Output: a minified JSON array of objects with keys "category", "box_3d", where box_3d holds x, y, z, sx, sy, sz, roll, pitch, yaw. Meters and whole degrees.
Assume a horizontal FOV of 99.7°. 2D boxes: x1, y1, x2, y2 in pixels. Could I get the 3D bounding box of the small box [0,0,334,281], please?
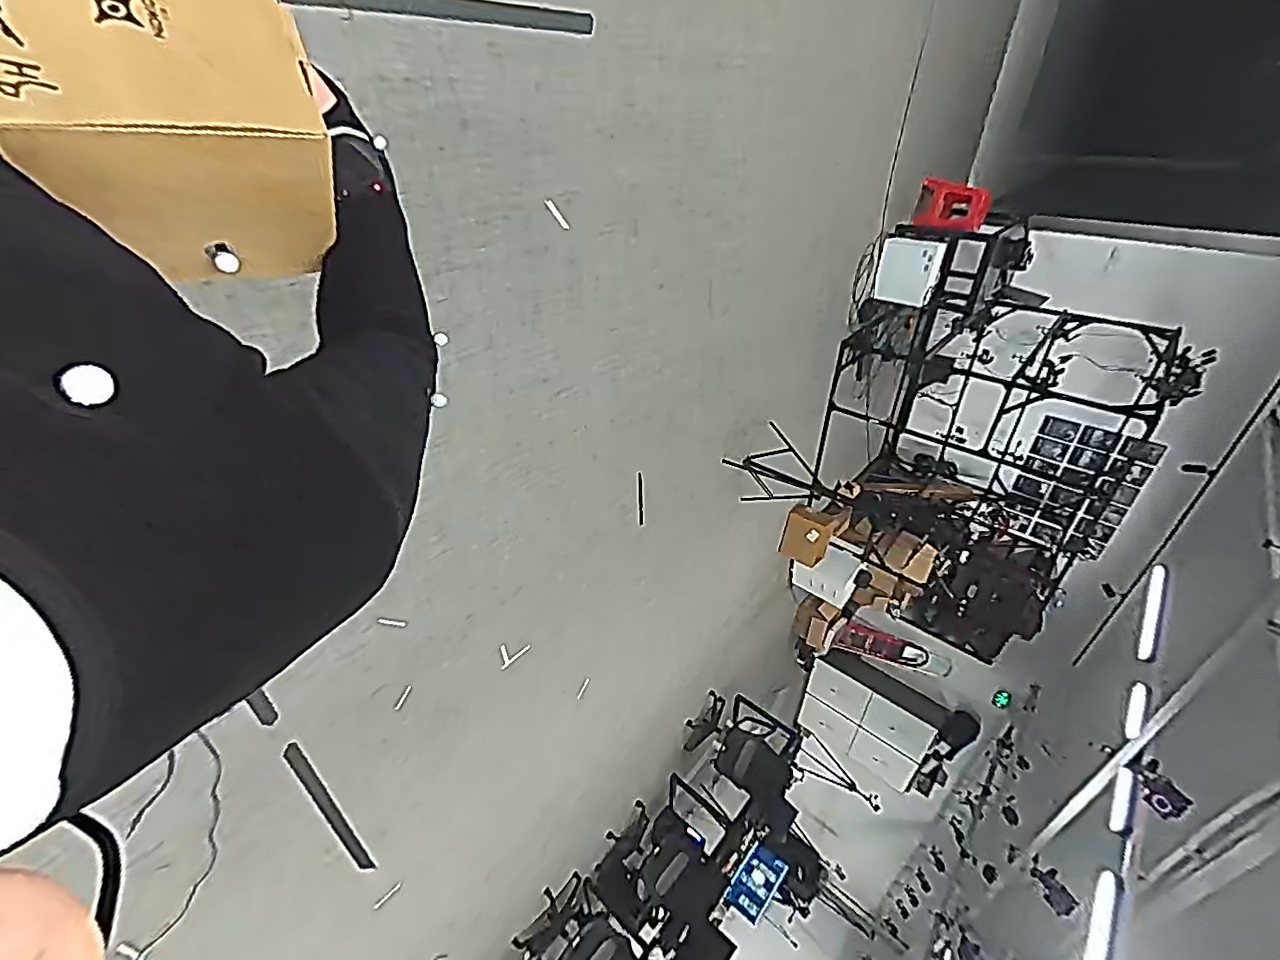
[{"category":"small box","box_3d":[-0.359,-0.278,0.424,0.179,0.176,0.168,-19,85,-30]}]
